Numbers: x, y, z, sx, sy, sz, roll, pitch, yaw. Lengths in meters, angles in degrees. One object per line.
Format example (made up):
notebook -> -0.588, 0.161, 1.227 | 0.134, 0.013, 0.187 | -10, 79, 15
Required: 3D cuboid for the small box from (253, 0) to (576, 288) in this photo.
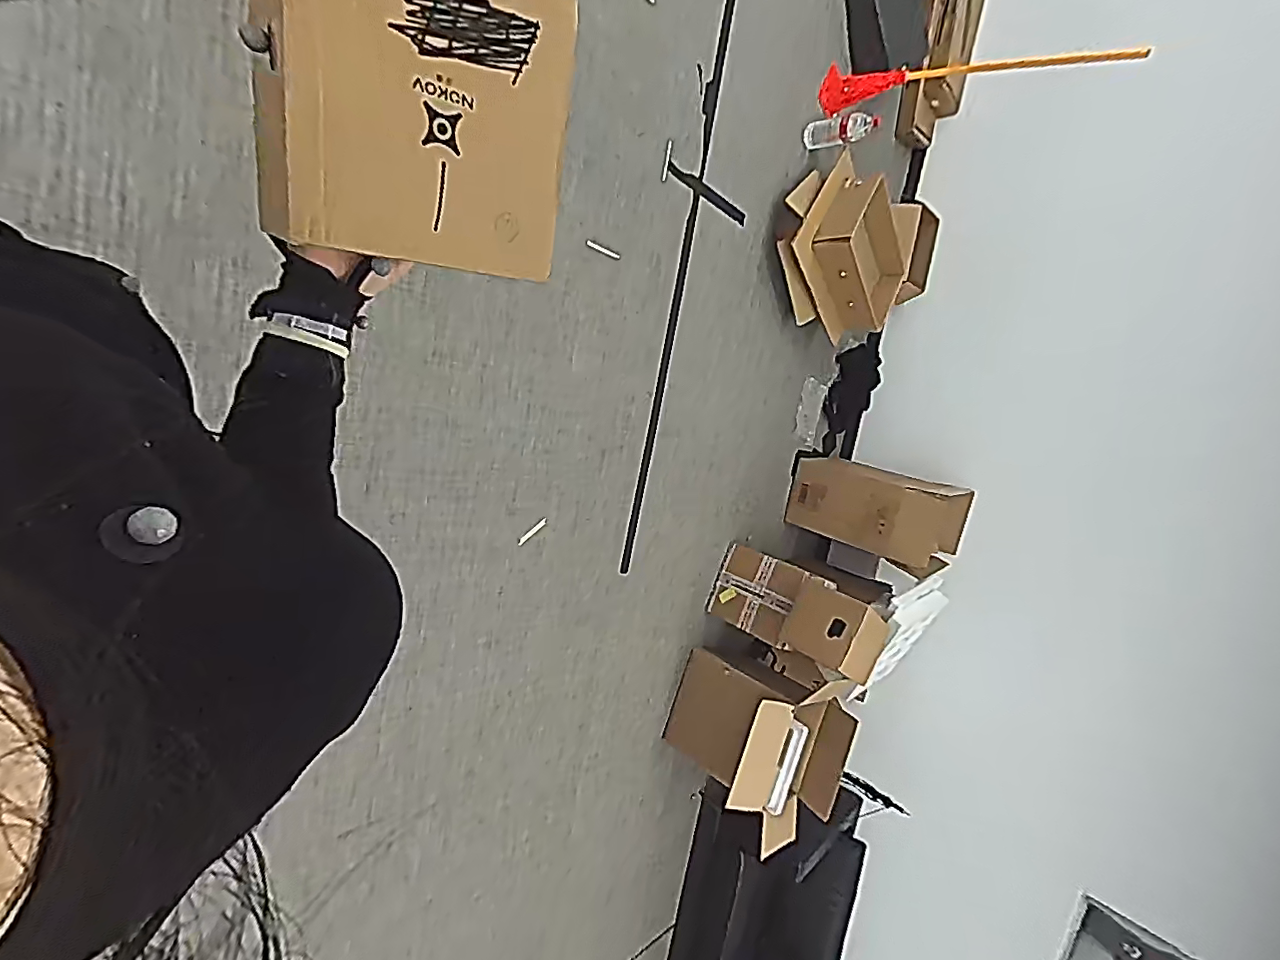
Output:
small box -> -0.168, -0.250, 0.389 | 0.168, 0.176, 0.179 | -6, 116, -39
